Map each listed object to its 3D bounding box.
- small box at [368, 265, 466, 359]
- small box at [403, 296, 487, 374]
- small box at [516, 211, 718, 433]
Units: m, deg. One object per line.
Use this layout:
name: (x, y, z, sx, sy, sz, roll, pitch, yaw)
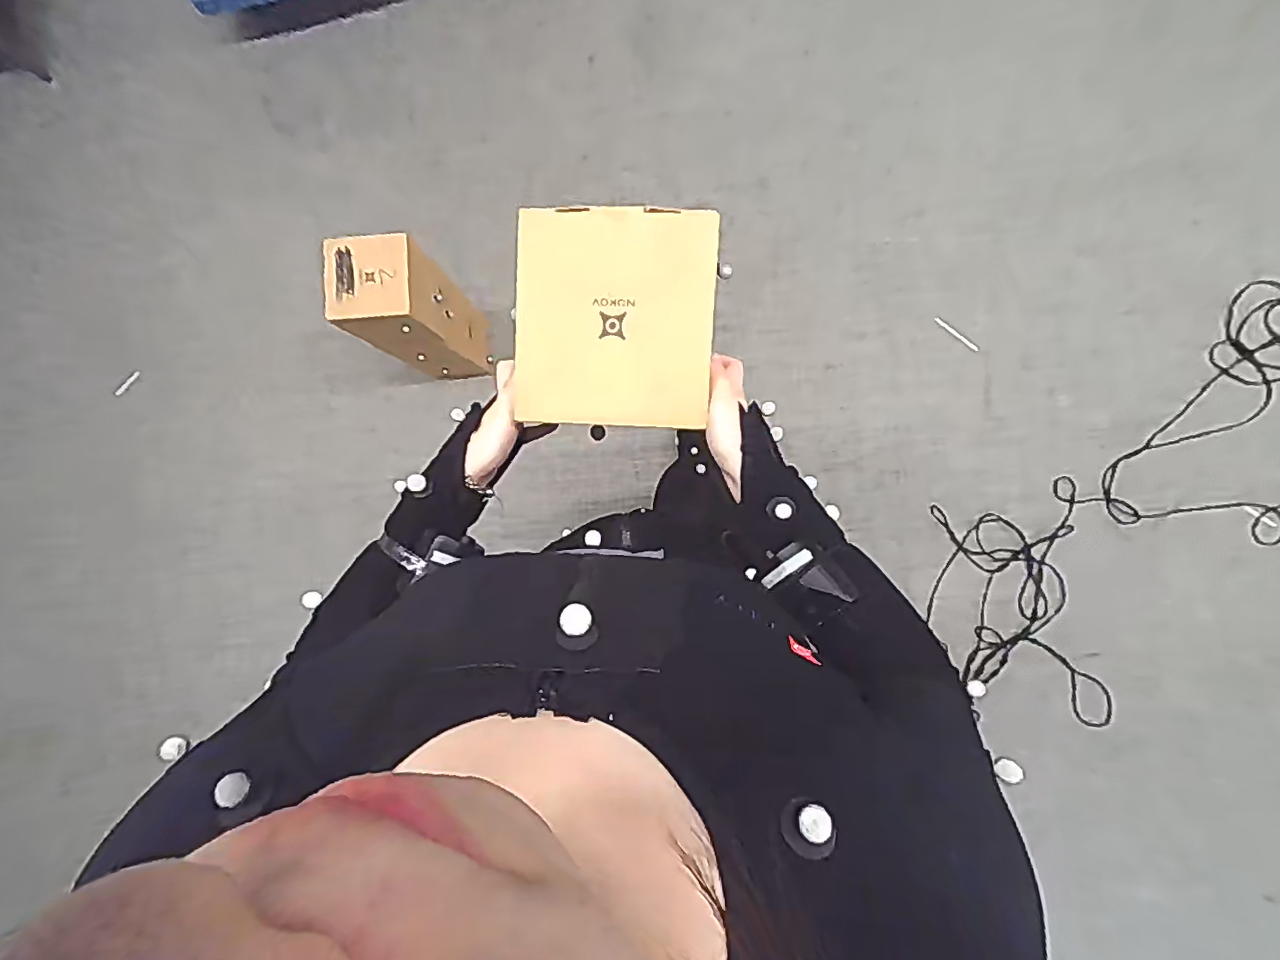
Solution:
small box: (-0.530, -0.396, 1.304, 0.168, 0.176, 0.179, -3, 88, 3)
small box: (-0.524, -0.390, 1.468, 0.179, 0.176, 0.168, -3, 89, 5)
small box: (-0.014, -0.138, 0.524, 0.168, 0.176, 0.179, 3, 96, 5)
